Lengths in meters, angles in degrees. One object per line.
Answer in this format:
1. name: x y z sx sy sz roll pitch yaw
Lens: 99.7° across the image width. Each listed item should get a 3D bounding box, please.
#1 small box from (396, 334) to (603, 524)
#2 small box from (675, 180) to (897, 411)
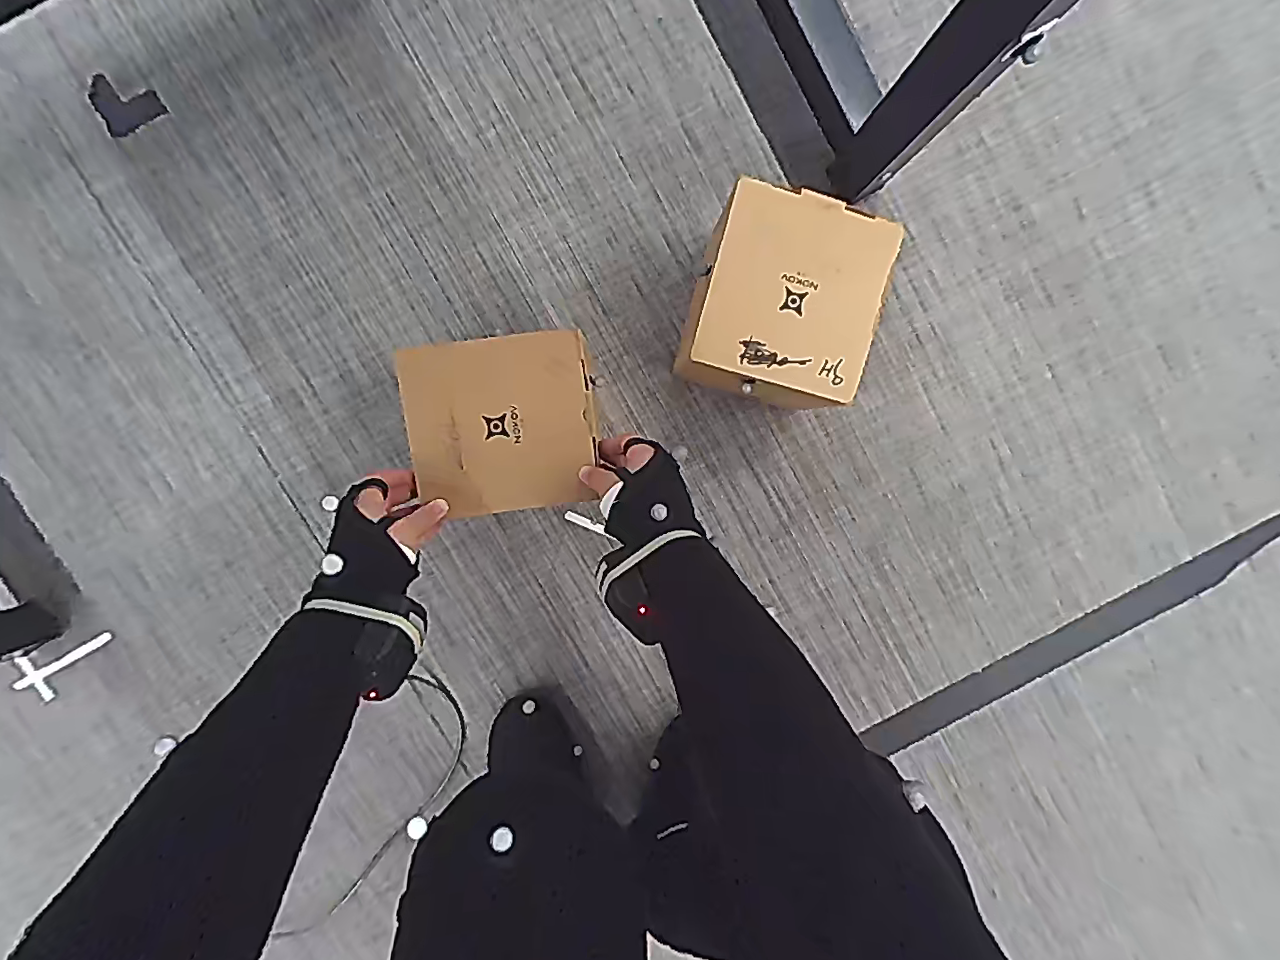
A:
1. small box: -0.136 -0.055 0.592 0.179 0.176 0.168 -8 95 -1
2. small box: 0.141 -0.181 0.590 0.168 0.176 0.179 14 94 -3
